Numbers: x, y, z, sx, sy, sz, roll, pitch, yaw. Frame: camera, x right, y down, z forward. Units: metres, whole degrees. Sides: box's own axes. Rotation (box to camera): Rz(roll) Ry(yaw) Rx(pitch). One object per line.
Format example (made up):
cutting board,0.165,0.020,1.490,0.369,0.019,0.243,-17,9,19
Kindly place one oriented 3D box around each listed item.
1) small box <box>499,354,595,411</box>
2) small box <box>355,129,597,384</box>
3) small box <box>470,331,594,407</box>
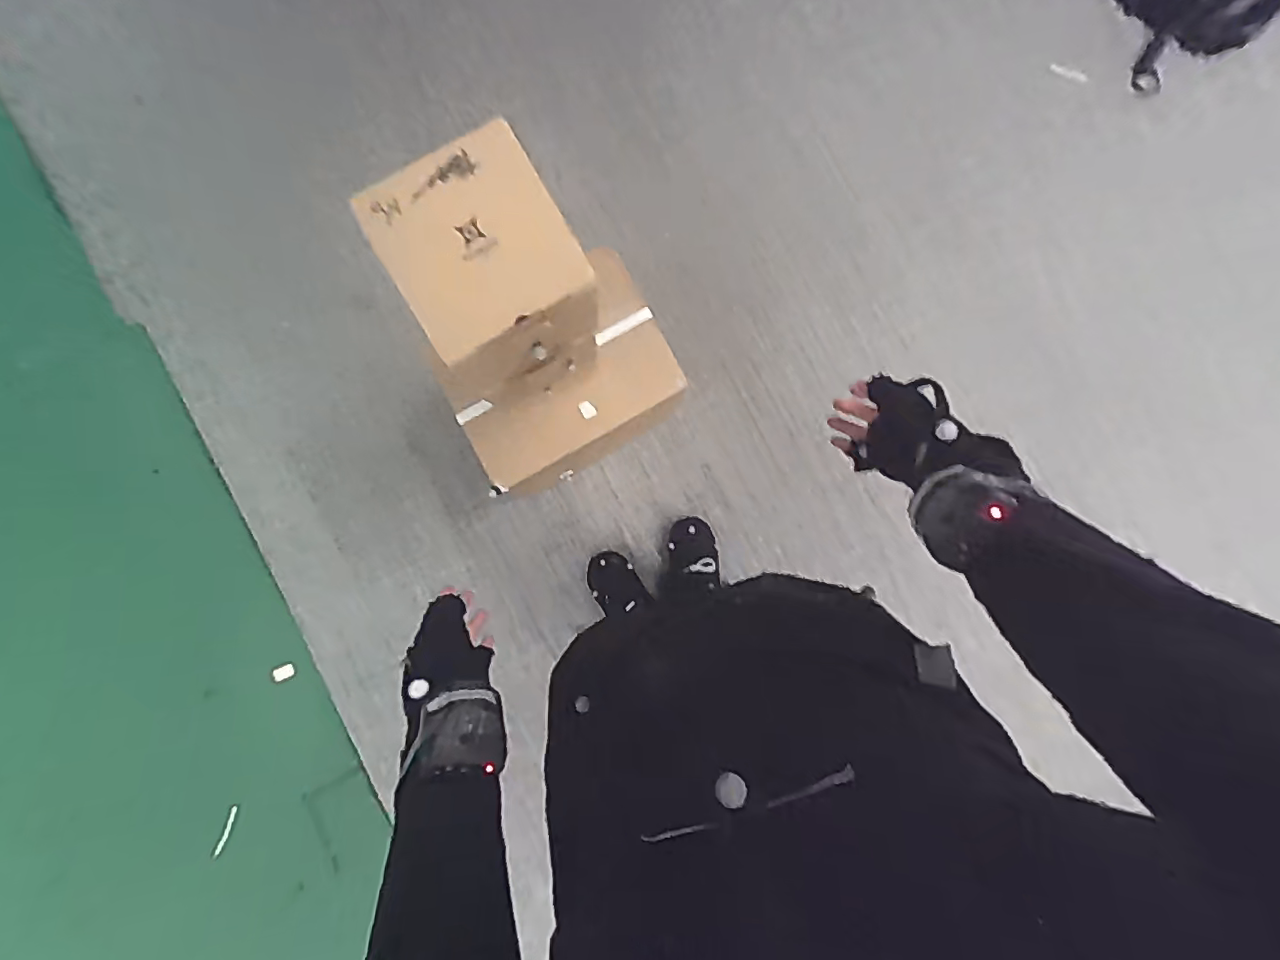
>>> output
small box,-0.184,-0.227,0.906,0.179,0.176,0.168,-23,91,-2
small box,-0.156,-0.217,0.584,0.168,0.176,0.179,-31,94,-3
small box,-0.173,-0.213,0.747,0.168,0.176,0.179,-31,92,-3
